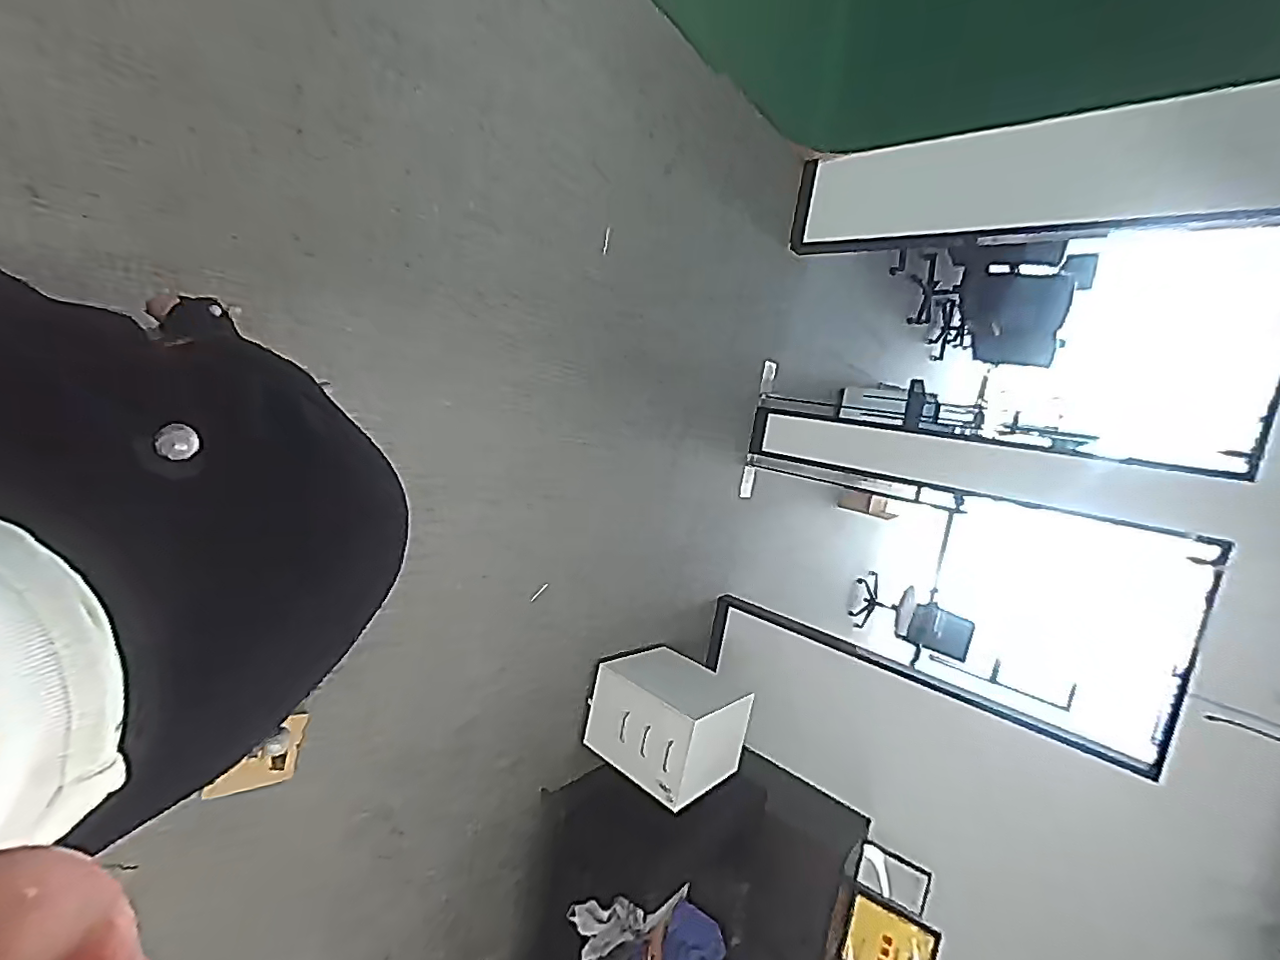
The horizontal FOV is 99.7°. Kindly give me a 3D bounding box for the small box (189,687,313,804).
[{"bbox_3d":[-0.896,0.597,1.244,0.179,0.176,0.168,15,91,-51],"label":"small box"}]
